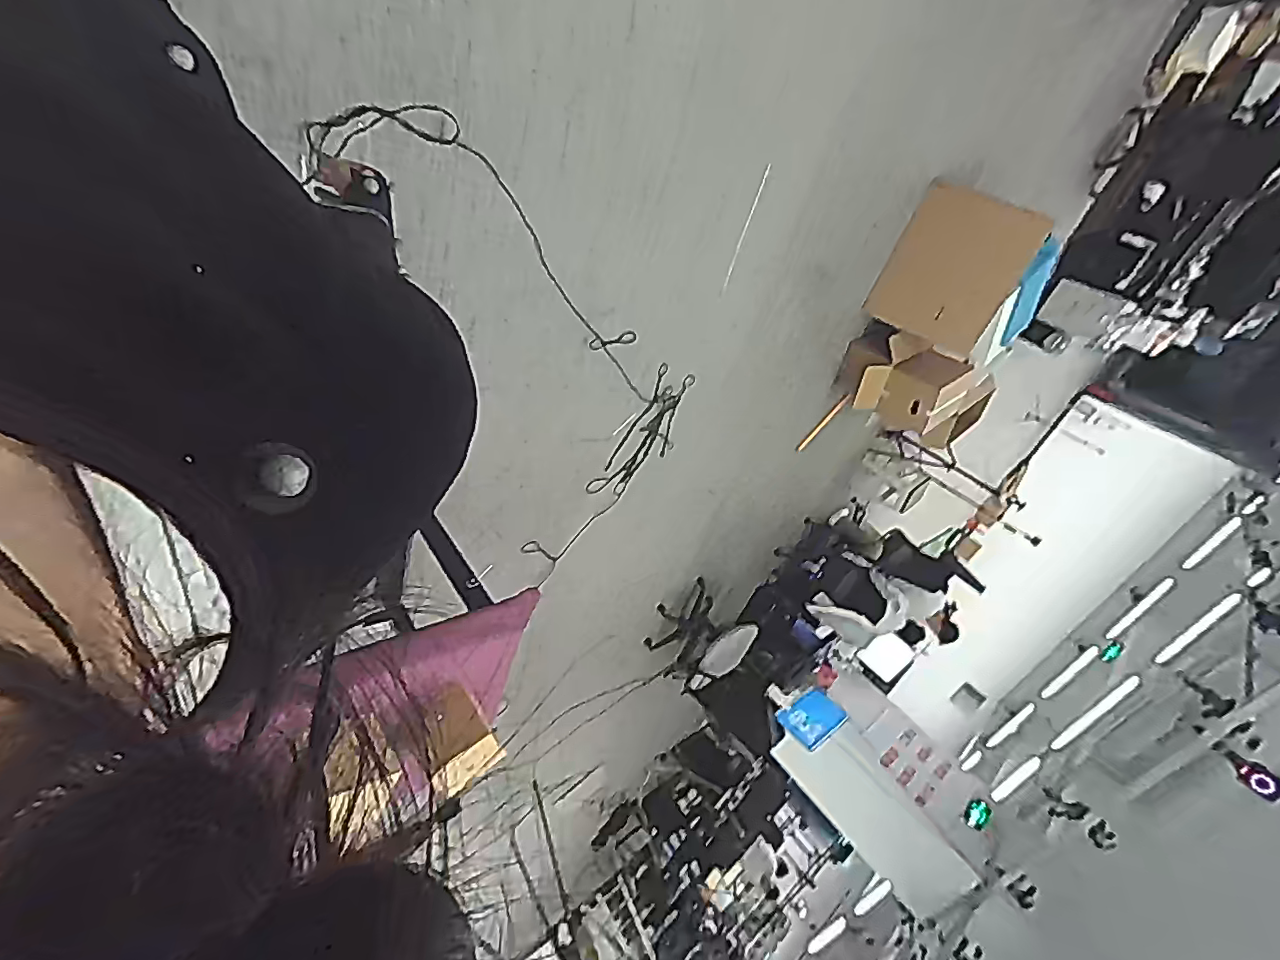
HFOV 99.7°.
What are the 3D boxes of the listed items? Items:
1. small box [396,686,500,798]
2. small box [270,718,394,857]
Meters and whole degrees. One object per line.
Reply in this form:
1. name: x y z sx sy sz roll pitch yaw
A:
1. small box: -0.482 0.655 1.364 0.168 0.176 0.179 -32 143 -23
2. small box: -0.658 0.636 1.149 0.168 0.176 0.179 4 122 -51
